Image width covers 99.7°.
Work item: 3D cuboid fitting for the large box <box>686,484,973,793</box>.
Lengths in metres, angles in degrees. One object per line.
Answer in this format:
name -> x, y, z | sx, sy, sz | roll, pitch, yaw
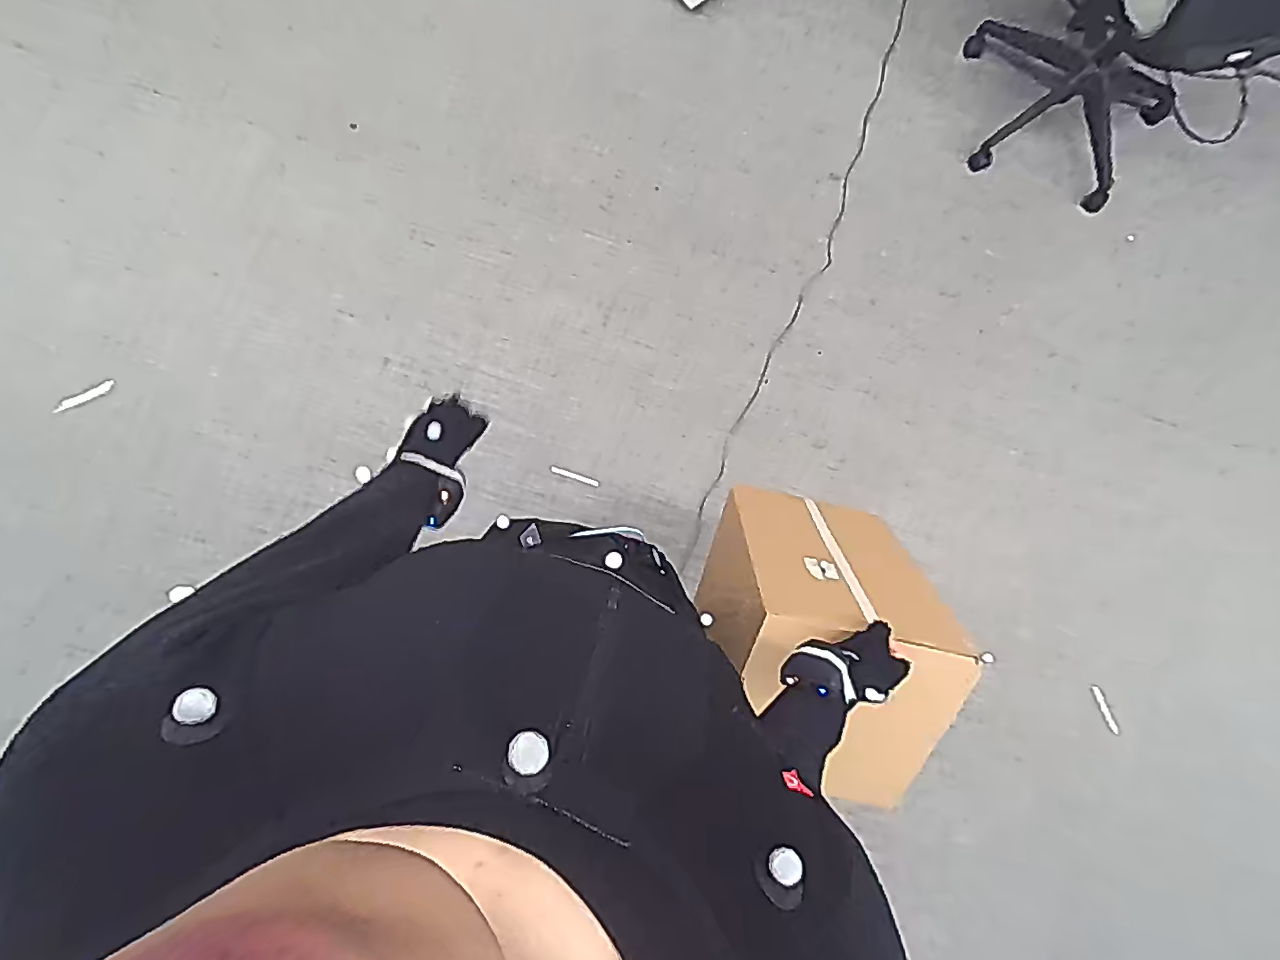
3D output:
large box -> 0.277, 0.256, 0.967 | 0.320, 0.408, 0.320 | 12, 116, -4
